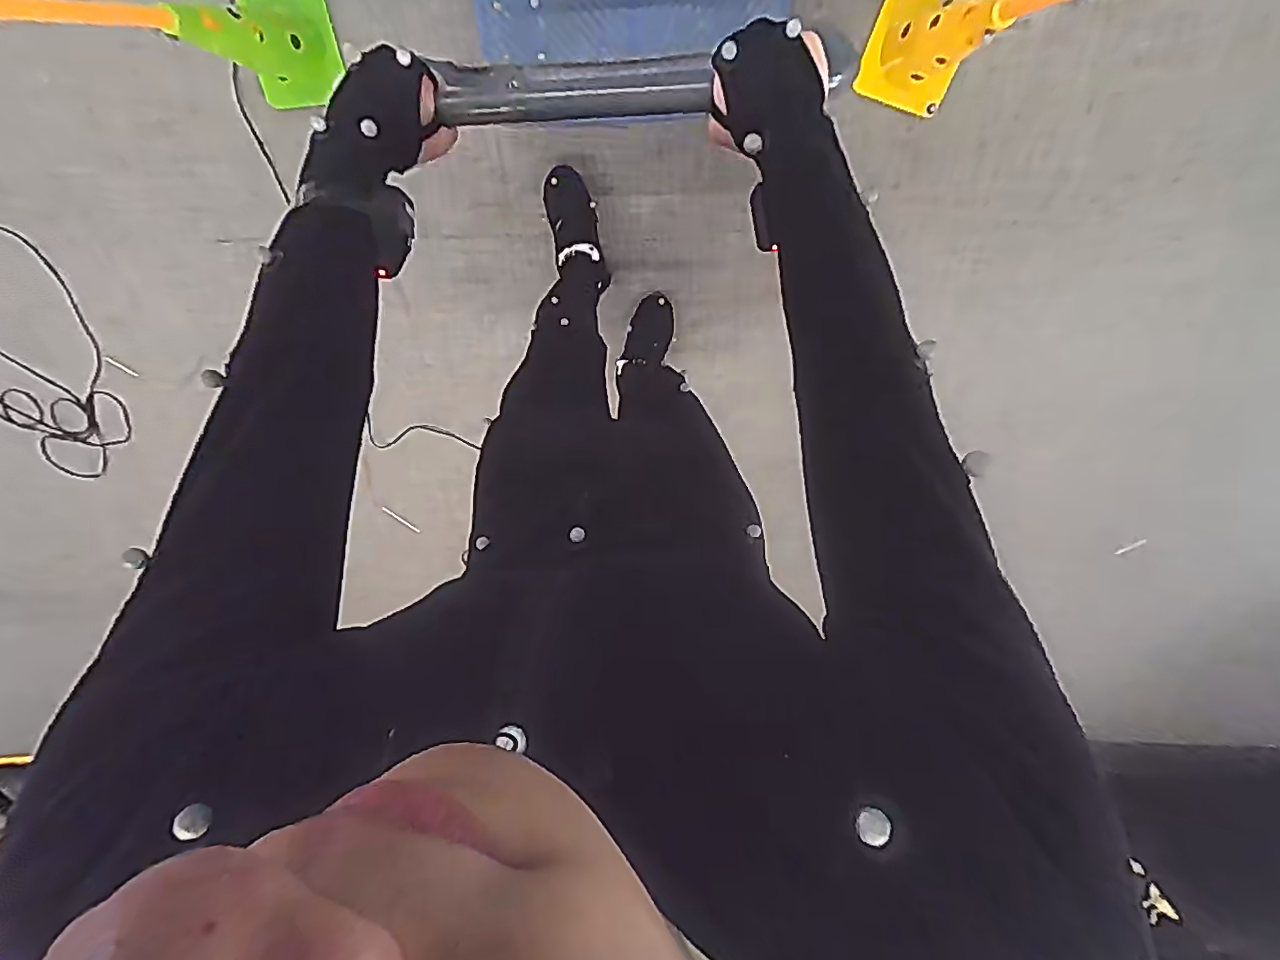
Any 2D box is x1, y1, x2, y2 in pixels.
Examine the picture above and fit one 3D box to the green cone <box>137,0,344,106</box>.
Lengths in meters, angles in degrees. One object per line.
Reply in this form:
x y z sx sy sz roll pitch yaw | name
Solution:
-0.772 -0.848 1.022 0.202 0.368 0.200 -2 121 7 | green cone
